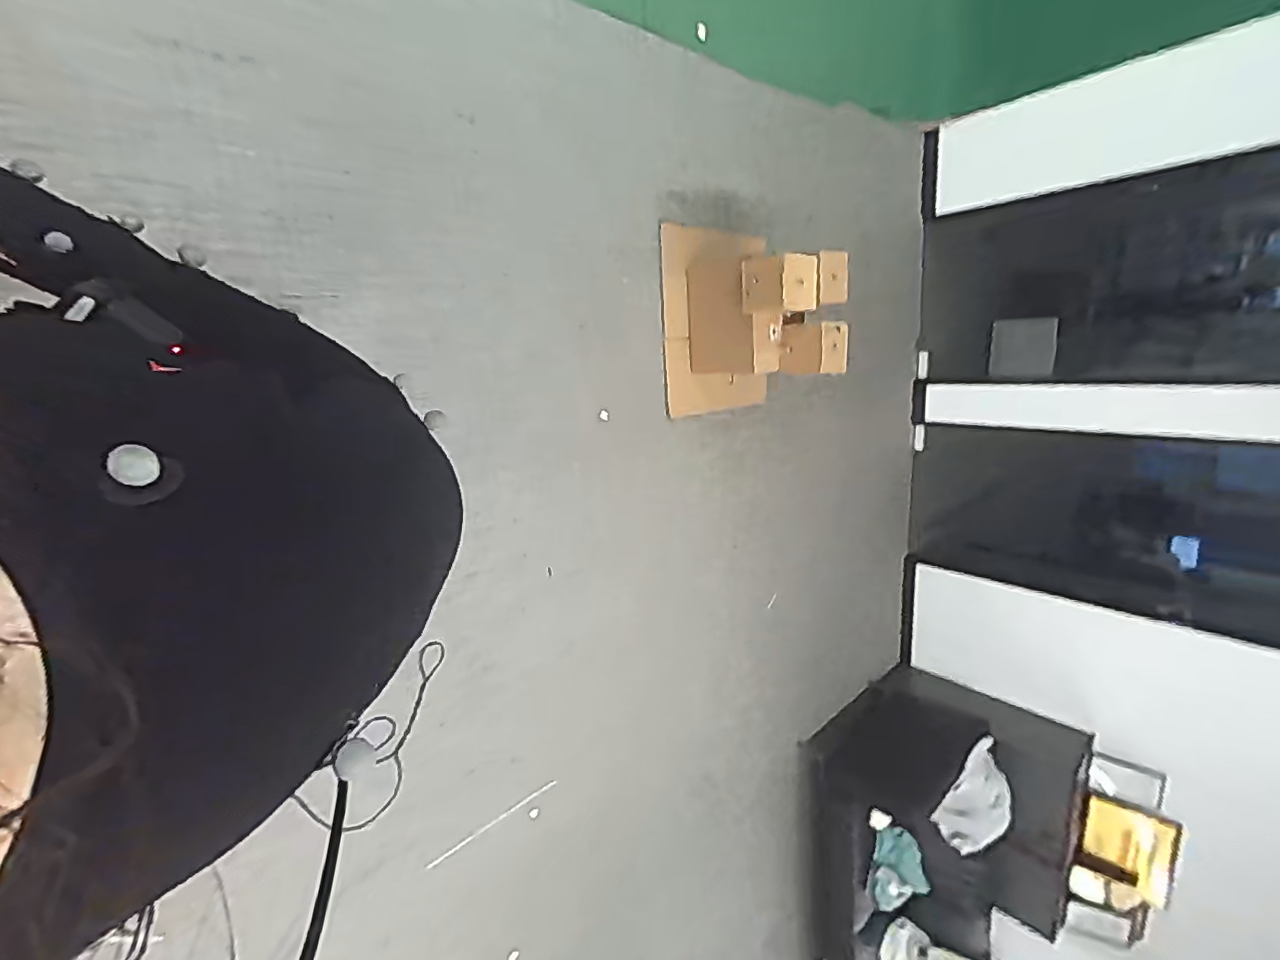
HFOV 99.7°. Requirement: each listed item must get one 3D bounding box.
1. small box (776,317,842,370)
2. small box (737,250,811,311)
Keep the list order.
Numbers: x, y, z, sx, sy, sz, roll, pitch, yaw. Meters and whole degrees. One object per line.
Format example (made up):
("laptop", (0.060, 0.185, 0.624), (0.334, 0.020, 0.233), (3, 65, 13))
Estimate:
("small box", (0.603, -0.483, 1.942), (0.168, 0.176, 0.179), (-10, 104, -39))
("small box", (0.438, -0.648, 1.772), (0.179, 0.176, 0.168), (-13, 107, -37))
